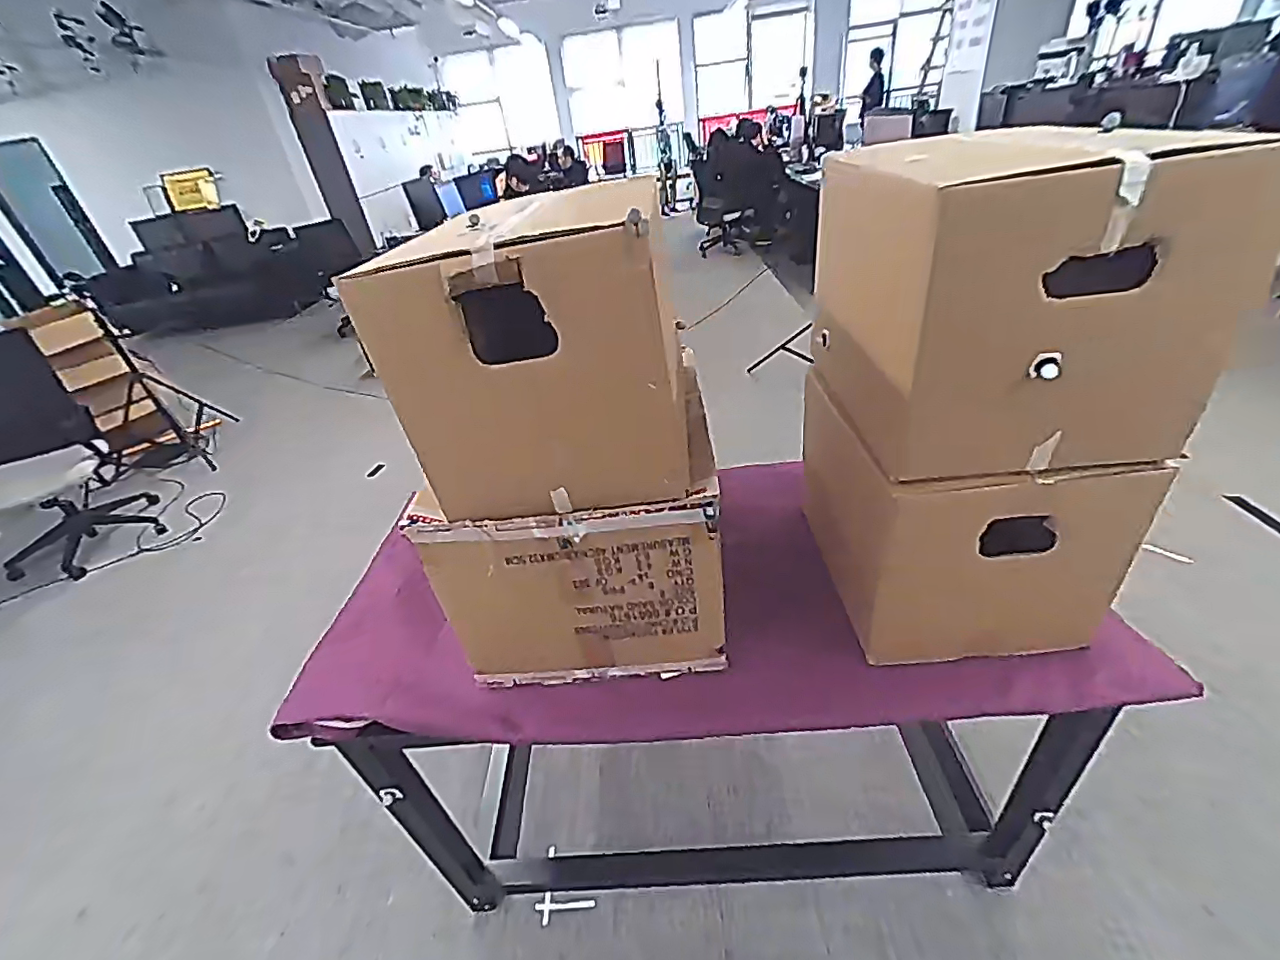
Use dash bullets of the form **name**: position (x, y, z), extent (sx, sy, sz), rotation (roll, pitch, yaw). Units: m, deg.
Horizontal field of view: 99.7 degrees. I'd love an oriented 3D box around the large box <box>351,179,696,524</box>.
- **large box**: position (-0.102, -0.195, 0.743), extent (0.320, 0.320, 0.408), rotation (-8, 34, 7)
